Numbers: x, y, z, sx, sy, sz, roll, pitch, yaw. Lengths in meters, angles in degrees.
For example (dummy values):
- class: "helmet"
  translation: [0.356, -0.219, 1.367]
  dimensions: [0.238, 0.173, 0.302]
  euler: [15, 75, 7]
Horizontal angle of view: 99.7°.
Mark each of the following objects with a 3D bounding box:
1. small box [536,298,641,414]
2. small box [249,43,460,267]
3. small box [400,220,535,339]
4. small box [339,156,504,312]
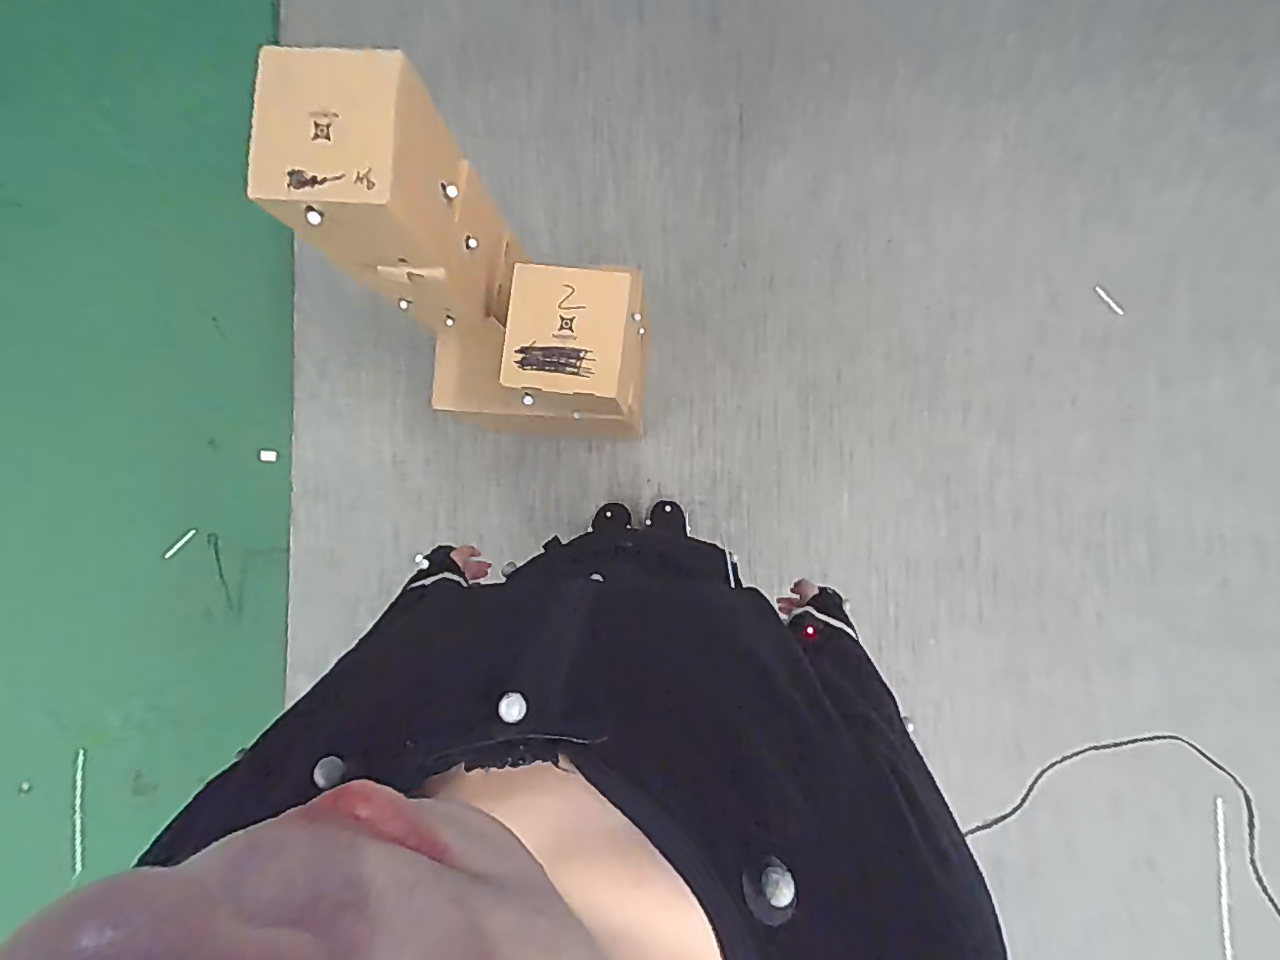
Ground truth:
- class: "small box"
  translation: [-0.087, -0.217, 0.987]
  dimensions: [0.168, 0.176, 0.179]
  euler: [2, 88, 3]
- class: "small box"
  translation: [-0.340, -0.394, 0.679]
  dimensions: [0.168, 0.176, 0.179]
  euler: [5, 88, 4]
- class: "small box"
  translation: [-0.312, -0.374, 1.006]
  dimensions: [0.179, 0.176, 0.168]
  euler: [10, 89, 3]
- class: "small box"
  translation: [-0.327, -0.381, 0.843]
  dimensions: [0.168, 0.176, 0.179]
  euler: [12, 88, 4]
